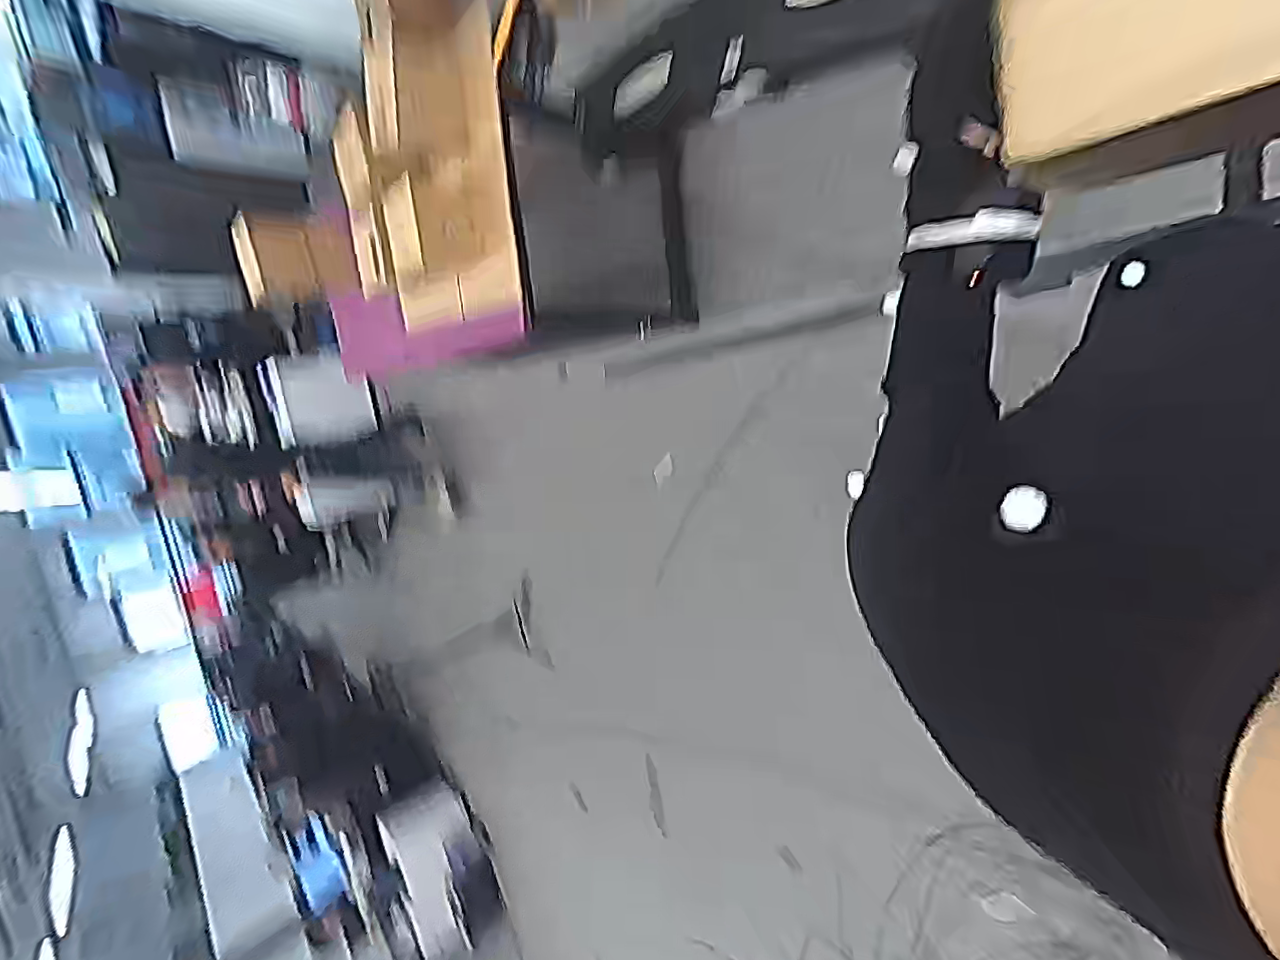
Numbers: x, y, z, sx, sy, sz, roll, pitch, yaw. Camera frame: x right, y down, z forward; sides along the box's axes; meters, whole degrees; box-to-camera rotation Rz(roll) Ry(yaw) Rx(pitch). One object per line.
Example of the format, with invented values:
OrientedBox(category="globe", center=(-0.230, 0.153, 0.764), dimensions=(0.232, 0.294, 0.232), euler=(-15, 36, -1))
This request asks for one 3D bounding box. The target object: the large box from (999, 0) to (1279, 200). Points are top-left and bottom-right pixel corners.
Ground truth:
OrientedBox(category="large box", center=(0.498, -0.426, 0.355), dimensions=(0.408, 0.320, 0.320), euler=(1, 108, 44))
